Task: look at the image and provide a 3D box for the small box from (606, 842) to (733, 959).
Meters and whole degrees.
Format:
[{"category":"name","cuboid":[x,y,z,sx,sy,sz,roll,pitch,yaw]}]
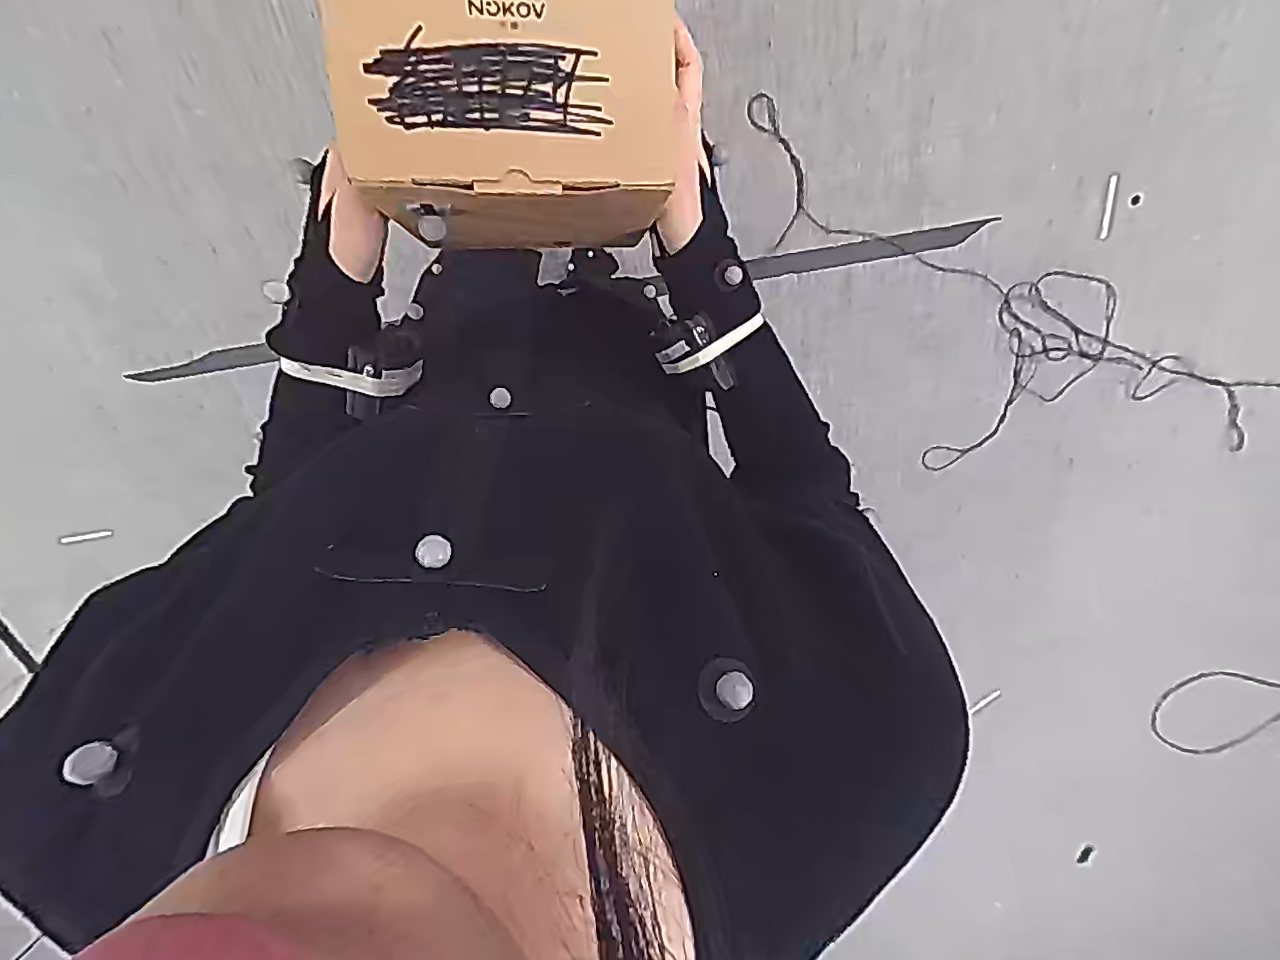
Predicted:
[{"category":"small box","cuboid":[0.045,0.672,0.805,0.168,0.176,0.179,-12,114,3]}]
